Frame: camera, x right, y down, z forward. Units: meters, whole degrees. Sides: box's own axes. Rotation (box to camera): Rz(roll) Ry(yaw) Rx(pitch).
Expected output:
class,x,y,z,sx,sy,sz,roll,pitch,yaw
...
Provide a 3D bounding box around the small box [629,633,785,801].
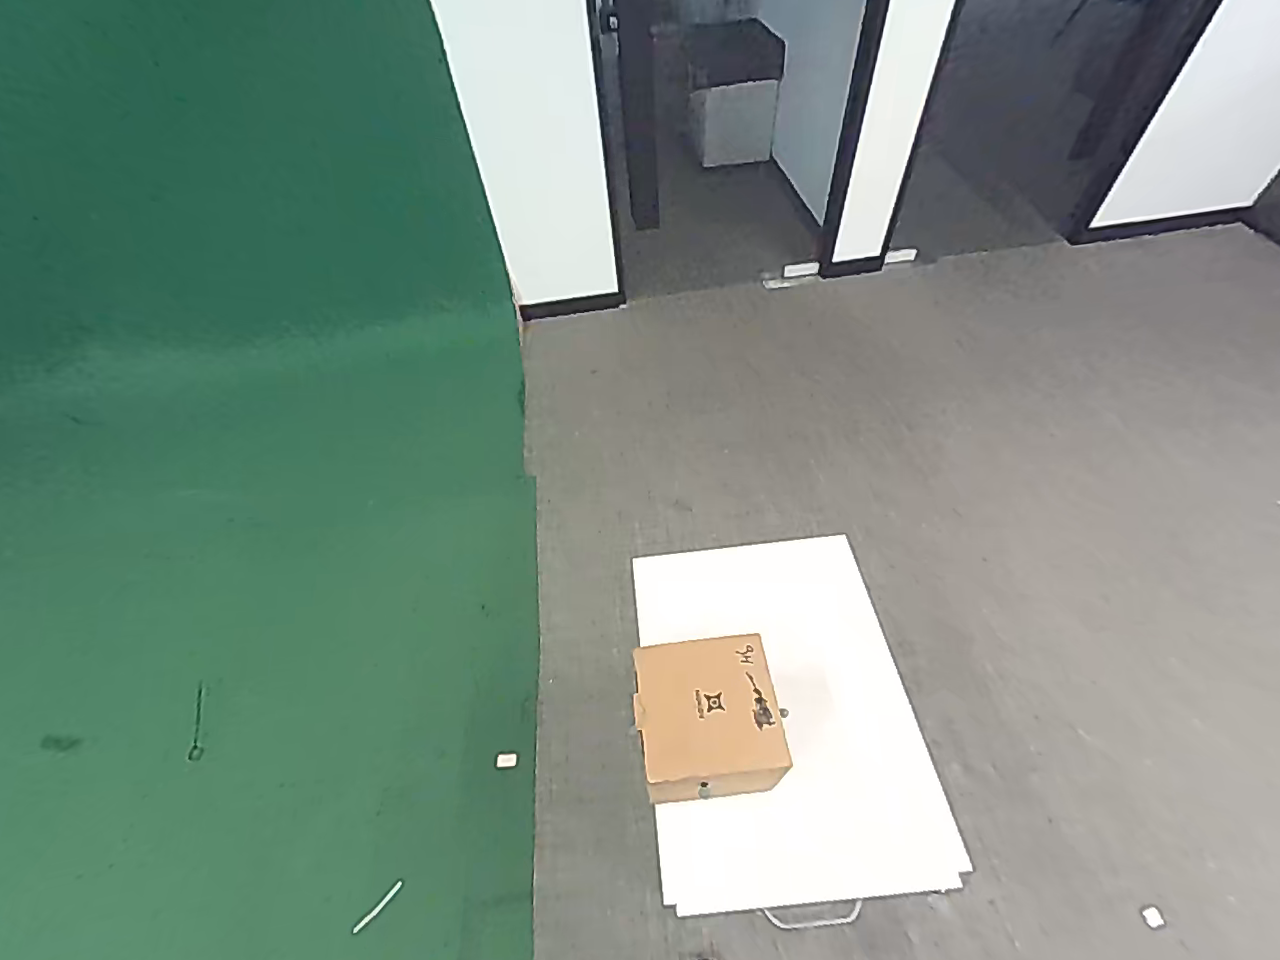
class,x,y,z,sx,sy,sz,roll,pitch,yaw
small box,0.083,0.328,0.741,0.179,0.176,0.168,-6,51,-1
